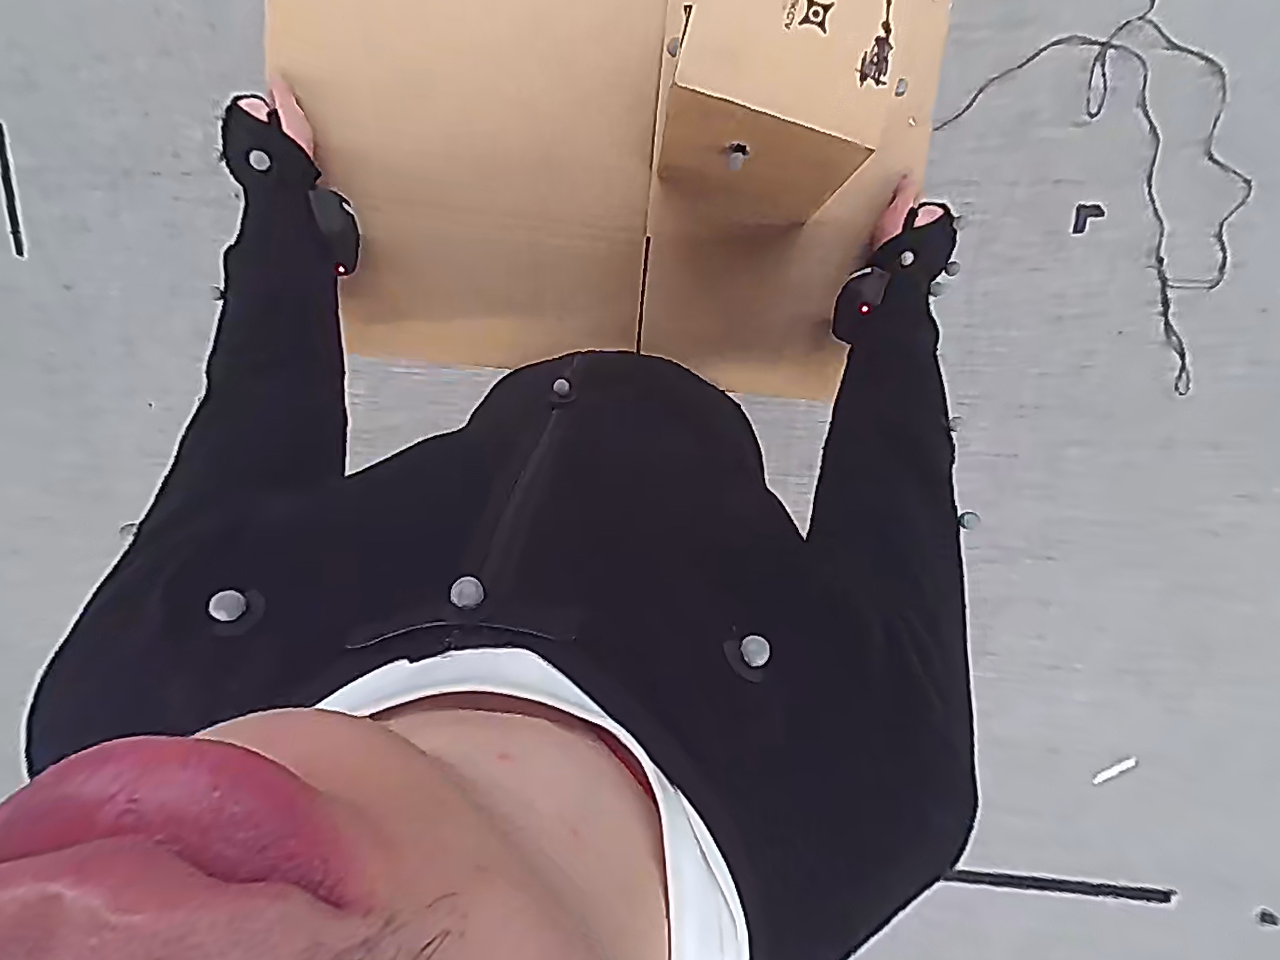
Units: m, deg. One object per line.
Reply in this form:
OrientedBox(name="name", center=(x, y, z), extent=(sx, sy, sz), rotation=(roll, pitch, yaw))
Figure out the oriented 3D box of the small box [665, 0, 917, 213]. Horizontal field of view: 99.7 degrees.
OrientedBox(name="small box", center=(0.127, -0.380, 0.510), extent=(0.179, 0.176, 0.168), rotation=(16, 97, -3))
